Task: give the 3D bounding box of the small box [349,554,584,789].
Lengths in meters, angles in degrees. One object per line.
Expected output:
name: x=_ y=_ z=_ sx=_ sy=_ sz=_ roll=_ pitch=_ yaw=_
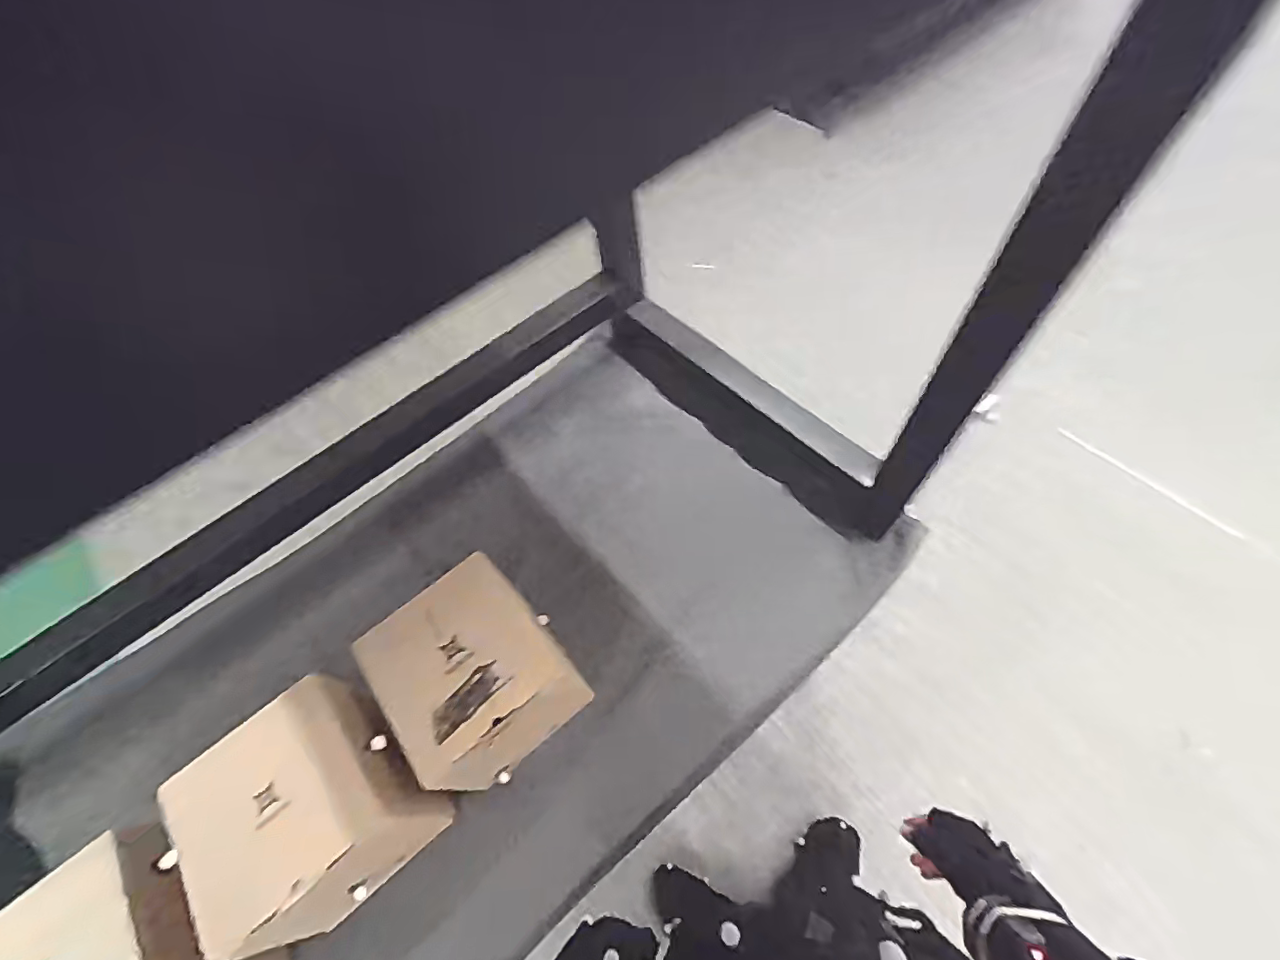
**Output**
small box: x=-0.186 y=0.224 z=0.625 sx=0.168 sy=0.176 sz=0.179 roll=-38 pitch=61 yaw=-15
